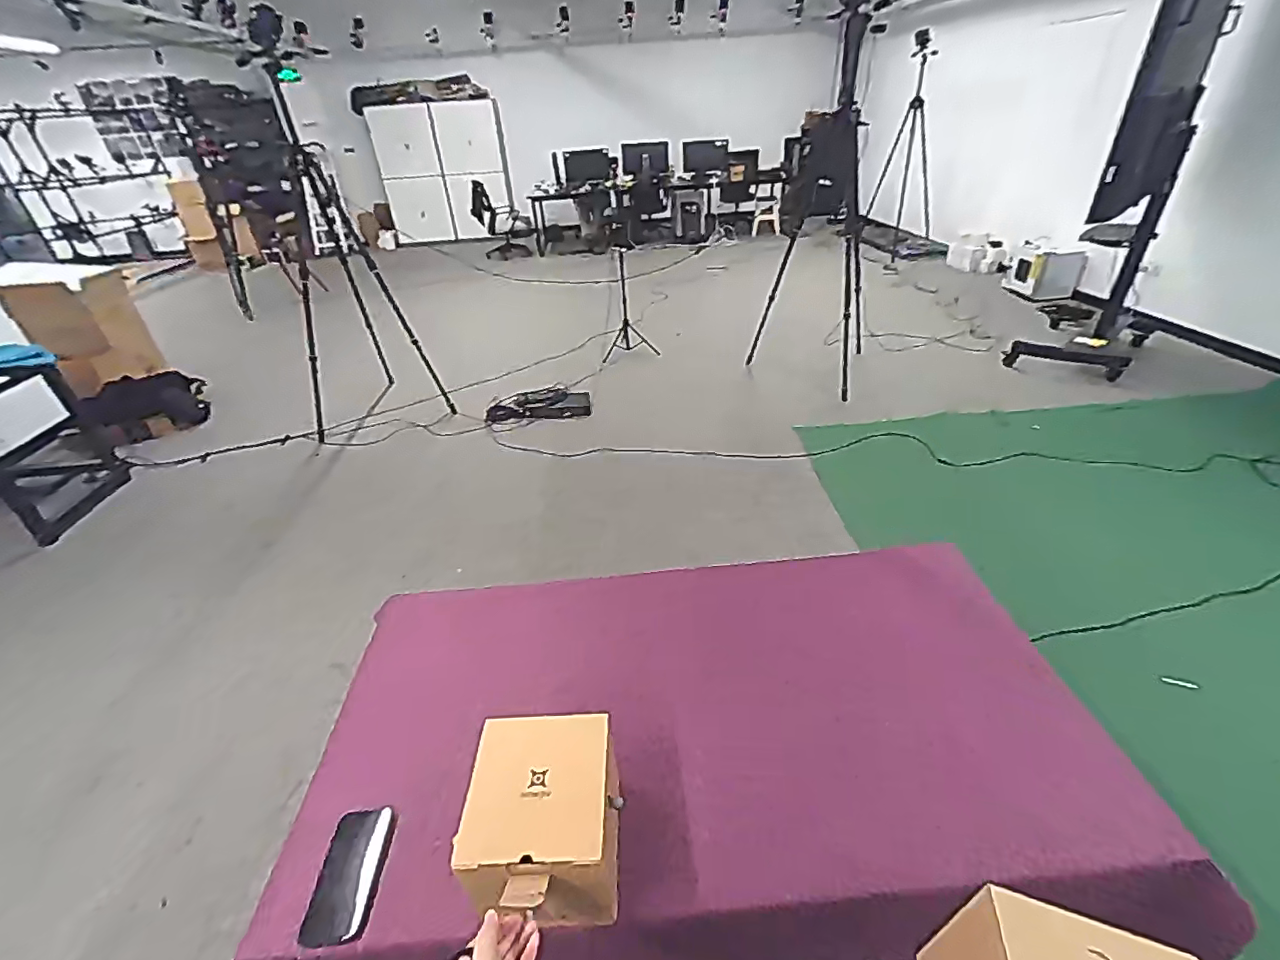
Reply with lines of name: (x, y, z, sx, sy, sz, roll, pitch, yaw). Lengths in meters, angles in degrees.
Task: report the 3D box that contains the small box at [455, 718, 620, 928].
small box: (-0.114, 0.431, 0.687, 0.168, 0.176, 0.179, -2, 34, 1)
